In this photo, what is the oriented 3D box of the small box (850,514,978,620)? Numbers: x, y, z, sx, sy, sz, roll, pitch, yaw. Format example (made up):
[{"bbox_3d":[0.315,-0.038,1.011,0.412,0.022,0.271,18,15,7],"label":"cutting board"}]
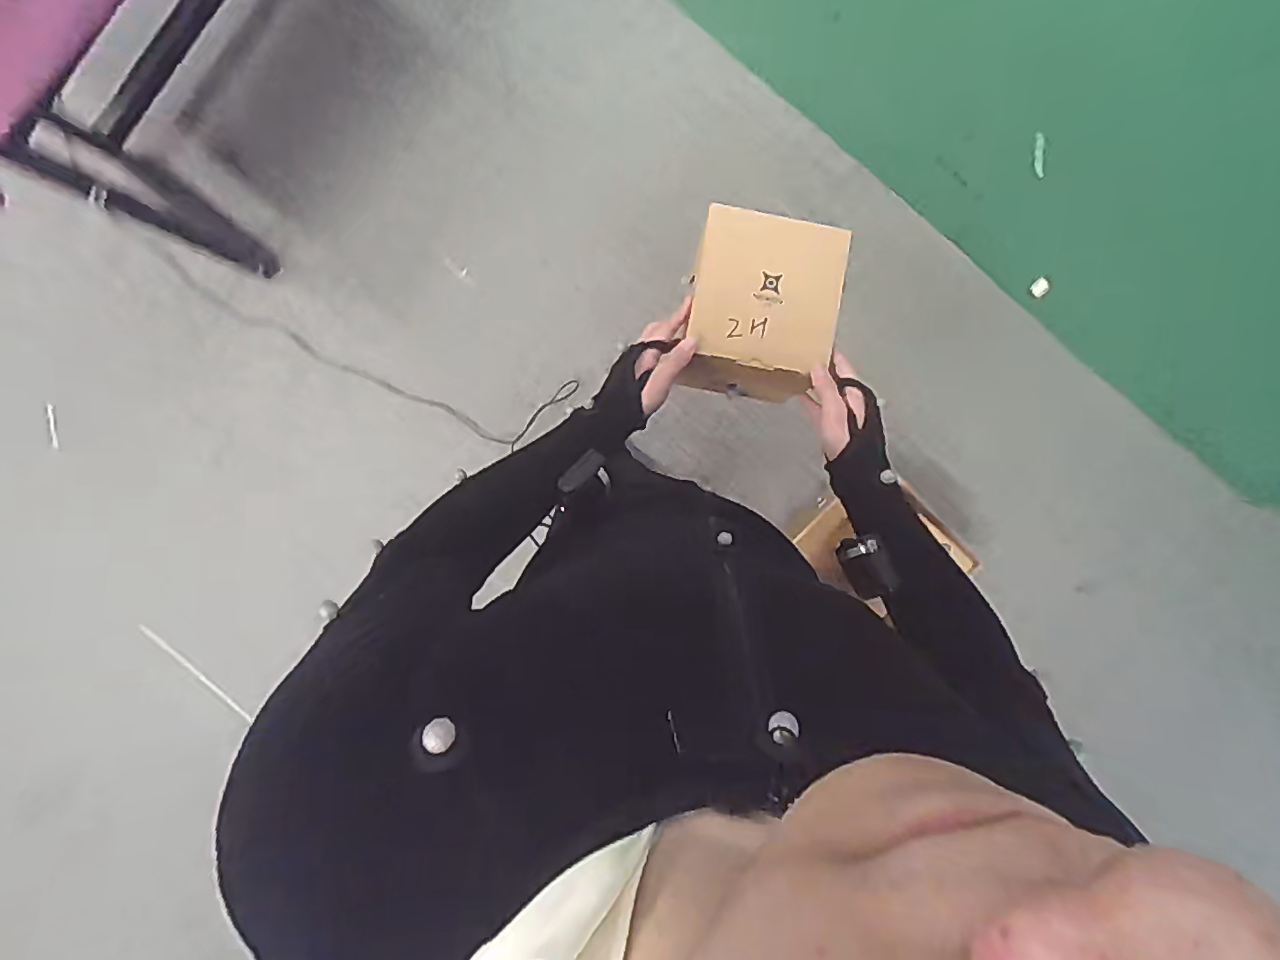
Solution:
[{"bbox_3d":[0.648,0.199,1.299,0.179,0.176,0.168,43,92,-1],"label":"small box"}]

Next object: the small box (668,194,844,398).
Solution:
[{"bbox_3d":[0.131,-0.214,0.674,0.168,0.176,0.179,10,88,-1],"label":"small box"}]
